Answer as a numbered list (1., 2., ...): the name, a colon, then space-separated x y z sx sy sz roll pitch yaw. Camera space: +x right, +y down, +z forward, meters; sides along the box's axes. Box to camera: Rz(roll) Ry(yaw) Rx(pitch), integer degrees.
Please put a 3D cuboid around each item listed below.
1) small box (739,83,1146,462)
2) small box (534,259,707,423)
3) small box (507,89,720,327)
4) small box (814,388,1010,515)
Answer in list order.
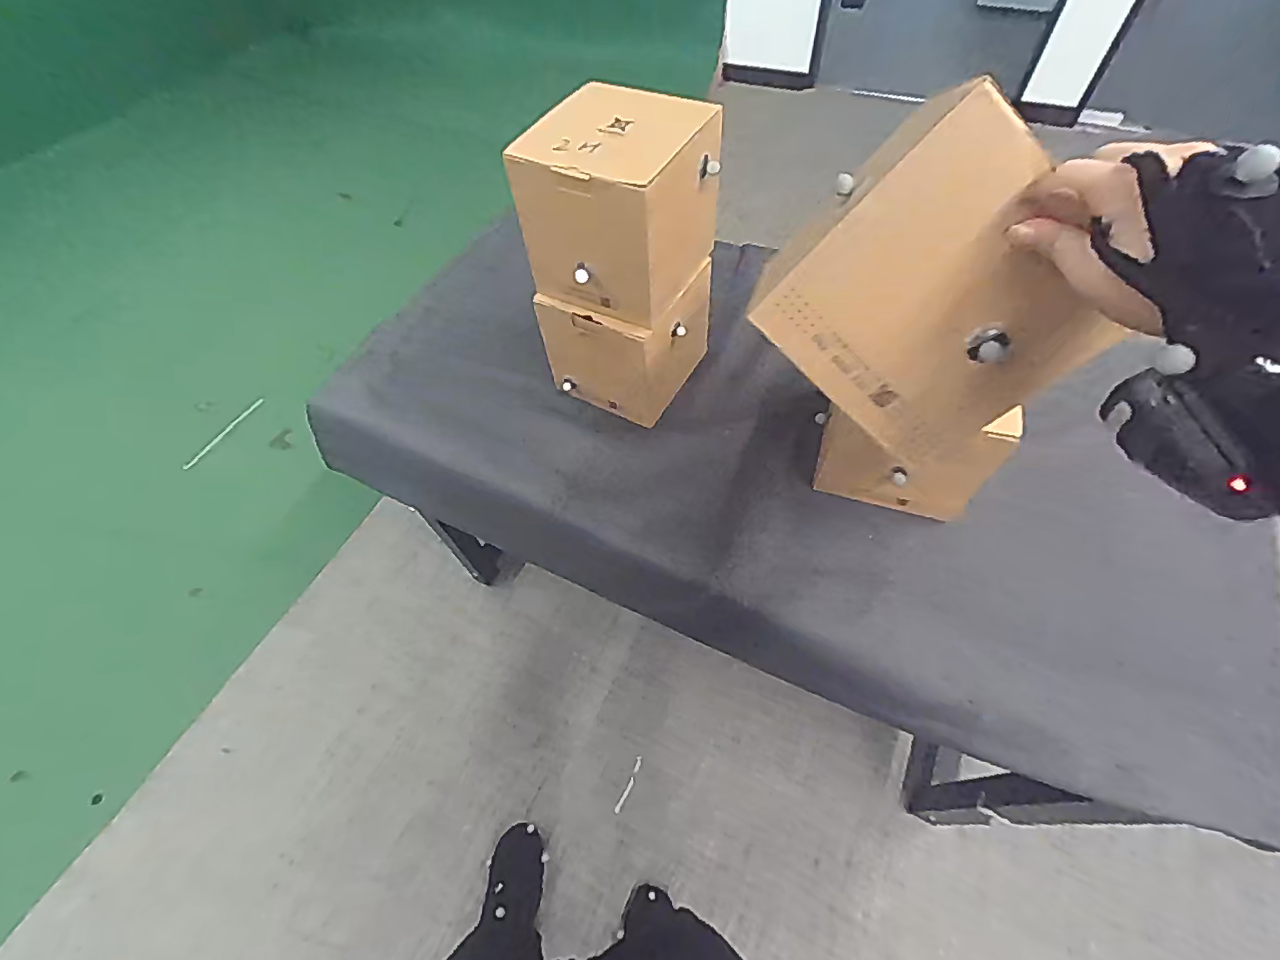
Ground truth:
1. small box: 0.192 -0.144 0.397 0.168 0.176 0.179 42 33 -11
2. small box: -0.018 -0.210 0.757 0.168 0.176 0.179 25 61 18
3. small box: -0.022 -0.312 0.627 0.168 0.176 0.179 23 61 18
4. small box: 0.316 -0.081 0.651 0.168 0.176 0.179 14 60 13
